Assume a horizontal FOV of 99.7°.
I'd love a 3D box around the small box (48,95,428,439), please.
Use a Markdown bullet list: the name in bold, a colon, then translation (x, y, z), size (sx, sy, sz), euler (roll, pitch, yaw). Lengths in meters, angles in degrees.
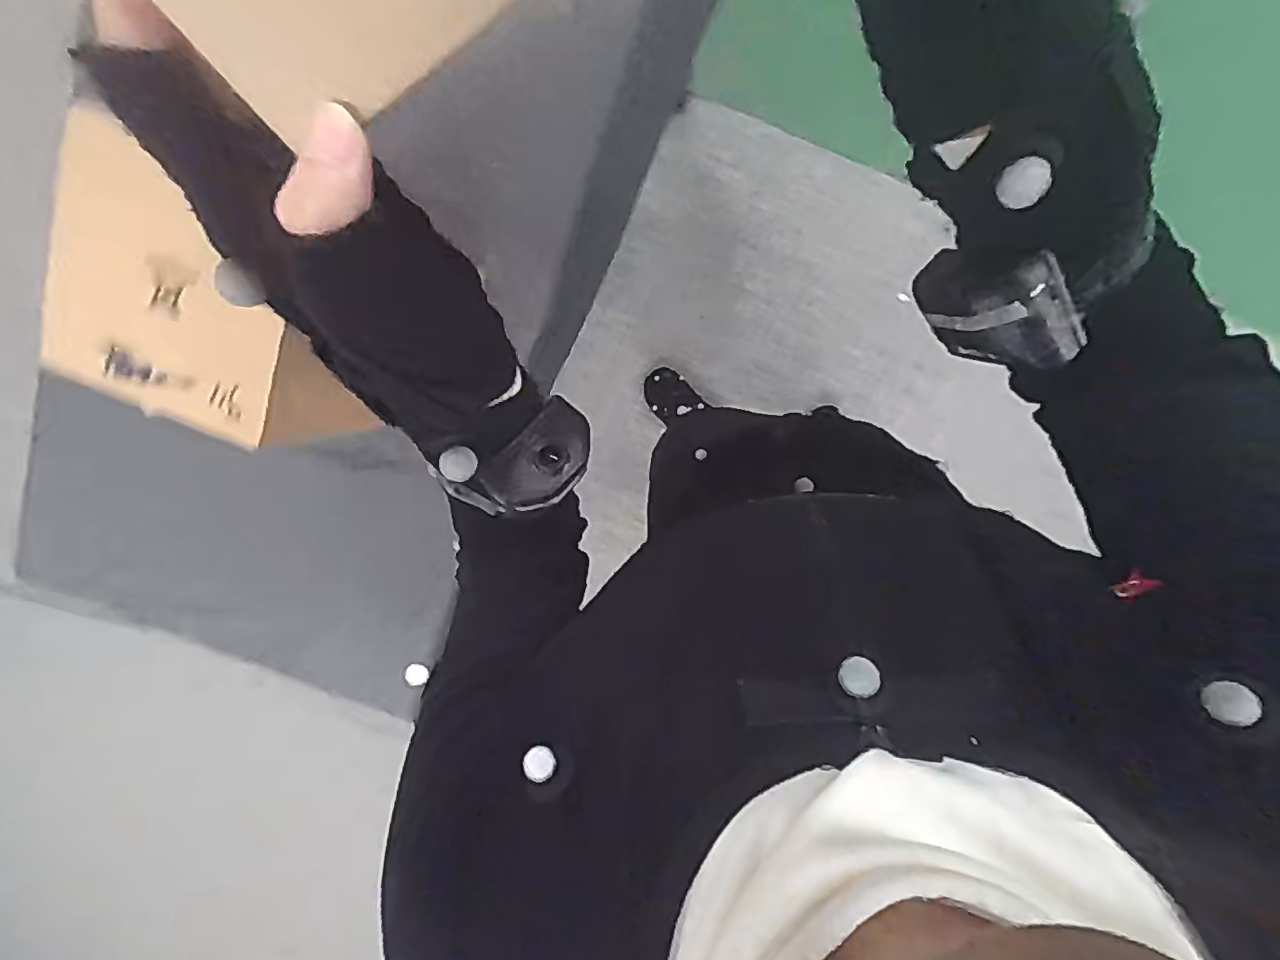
- **small box**: translation (-0.298, -0.152, 0.438), size (0.168, 0.176, 0.179), euler (22, 102, 0)
